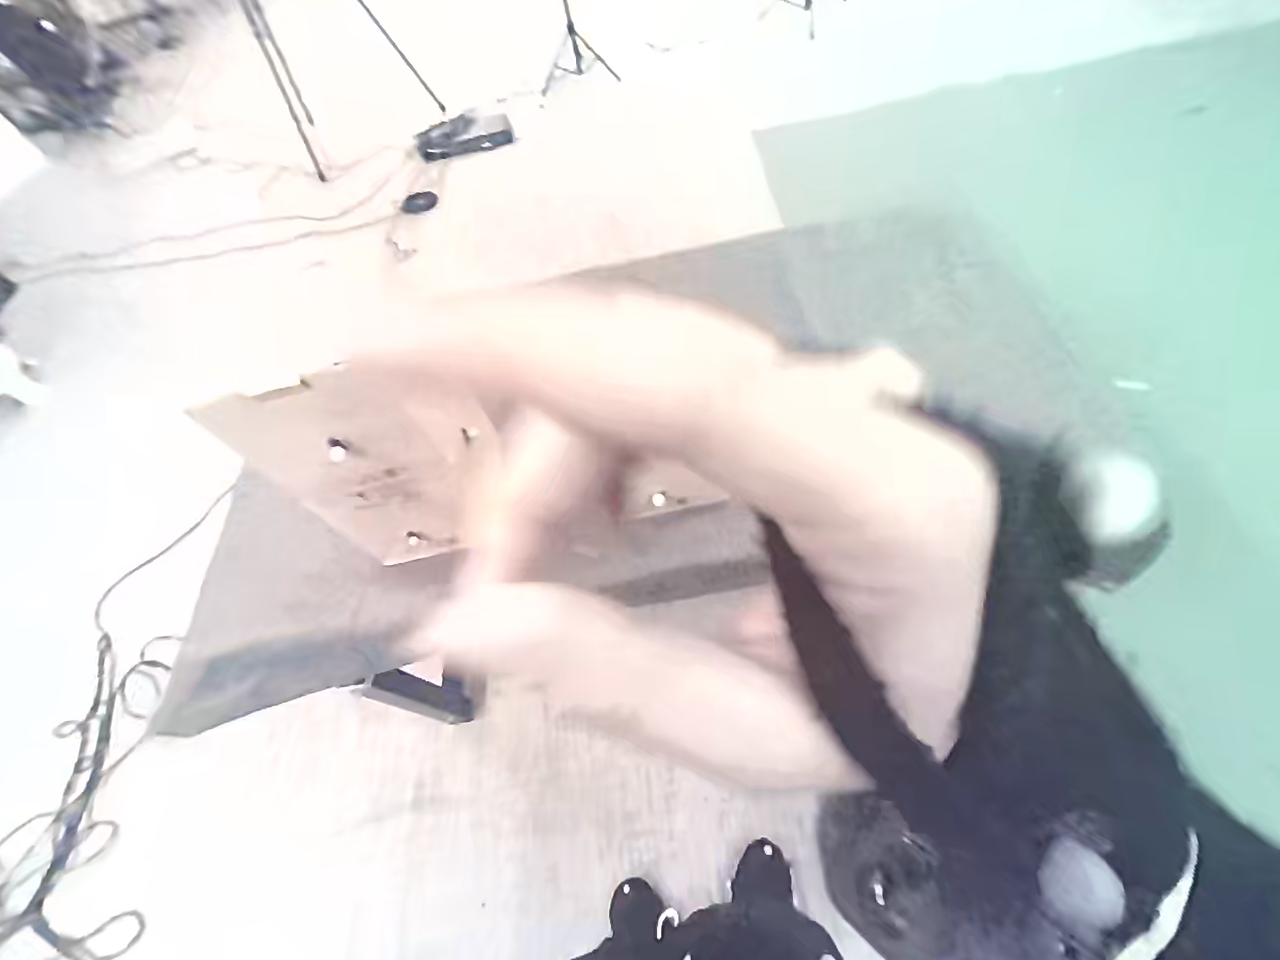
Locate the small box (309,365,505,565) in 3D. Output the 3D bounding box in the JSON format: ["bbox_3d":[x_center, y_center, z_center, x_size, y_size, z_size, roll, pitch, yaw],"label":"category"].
[{"bbox_3d":[-0.281,-0.015,0.695,0.168,0.176,0.179,-13,56,1],"label":"small box"}]

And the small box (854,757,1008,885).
[{"bbox_3d":[0.525,0.632,1.007,0.179,0.176,0.168,-14,54,1],"label":"small box"}]
